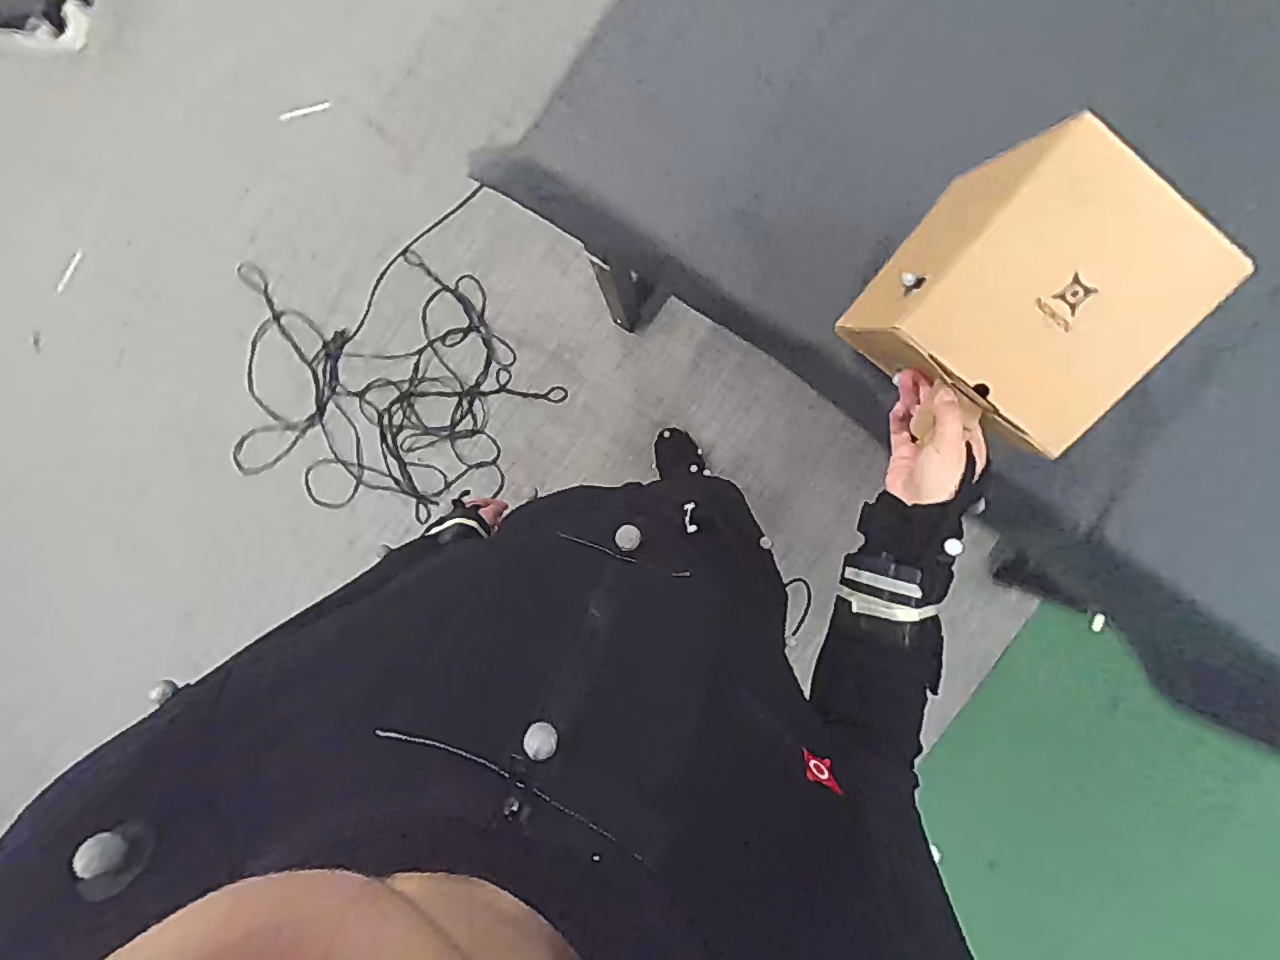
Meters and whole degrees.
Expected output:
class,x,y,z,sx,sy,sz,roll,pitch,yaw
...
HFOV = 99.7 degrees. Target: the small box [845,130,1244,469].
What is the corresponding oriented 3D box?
class,x,y,z,sx,sy,sz,roll,pitch,yaw
small box,0.309,-0.143,0.462,0.168,0.176,0.179,35,107,-7
